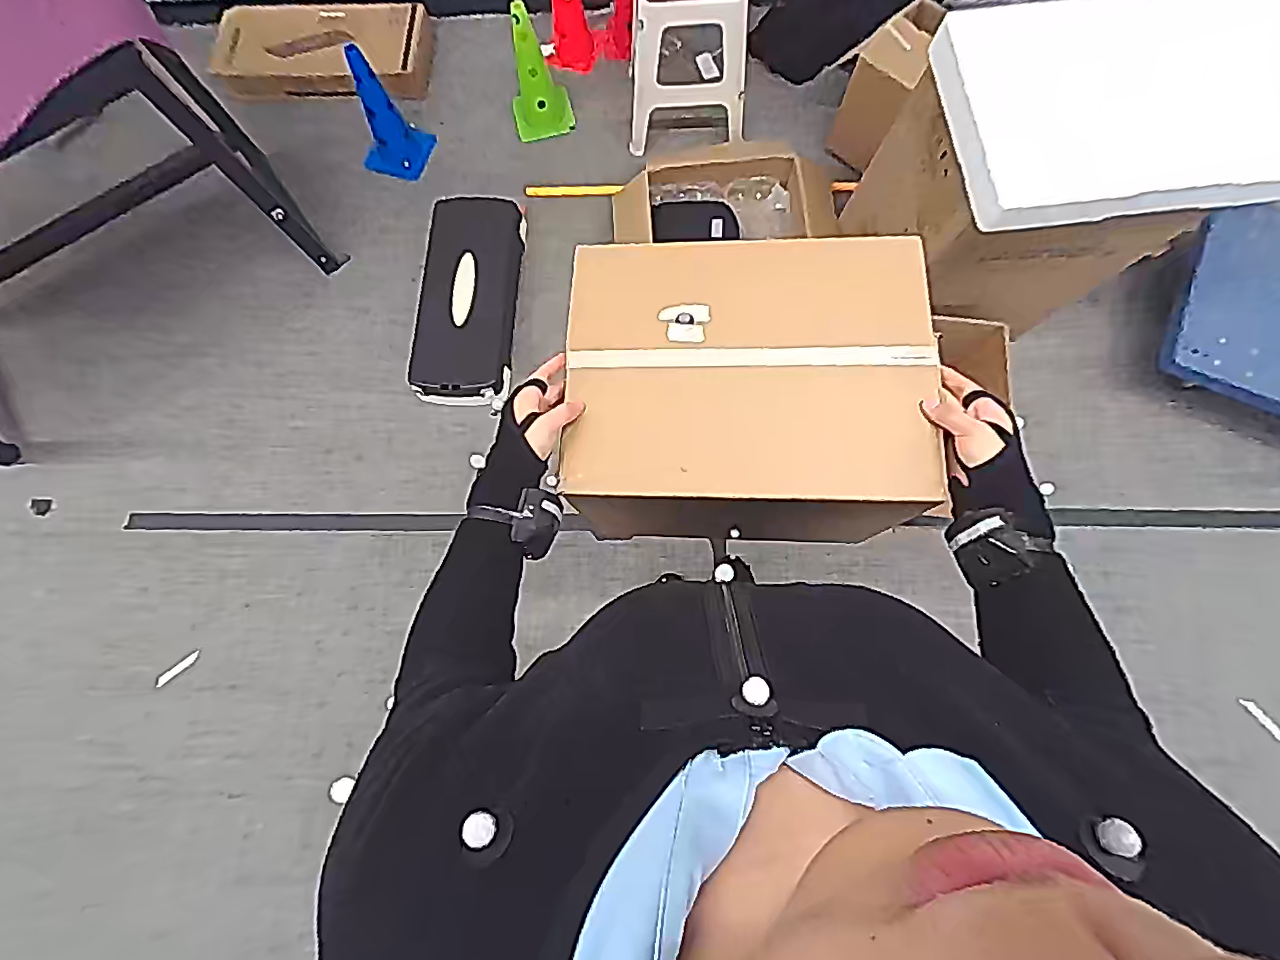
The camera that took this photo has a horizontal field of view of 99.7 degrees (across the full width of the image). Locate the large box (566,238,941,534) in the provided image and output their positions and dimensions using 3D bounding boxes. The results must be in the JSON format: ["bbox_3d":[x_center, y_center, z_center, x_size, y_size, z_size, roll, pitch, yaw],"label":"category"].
[{"bbox_3d":[0.134,-0.096,0.758,0.408,0.320,0.320,0,74,7],"label":"large box"}]
